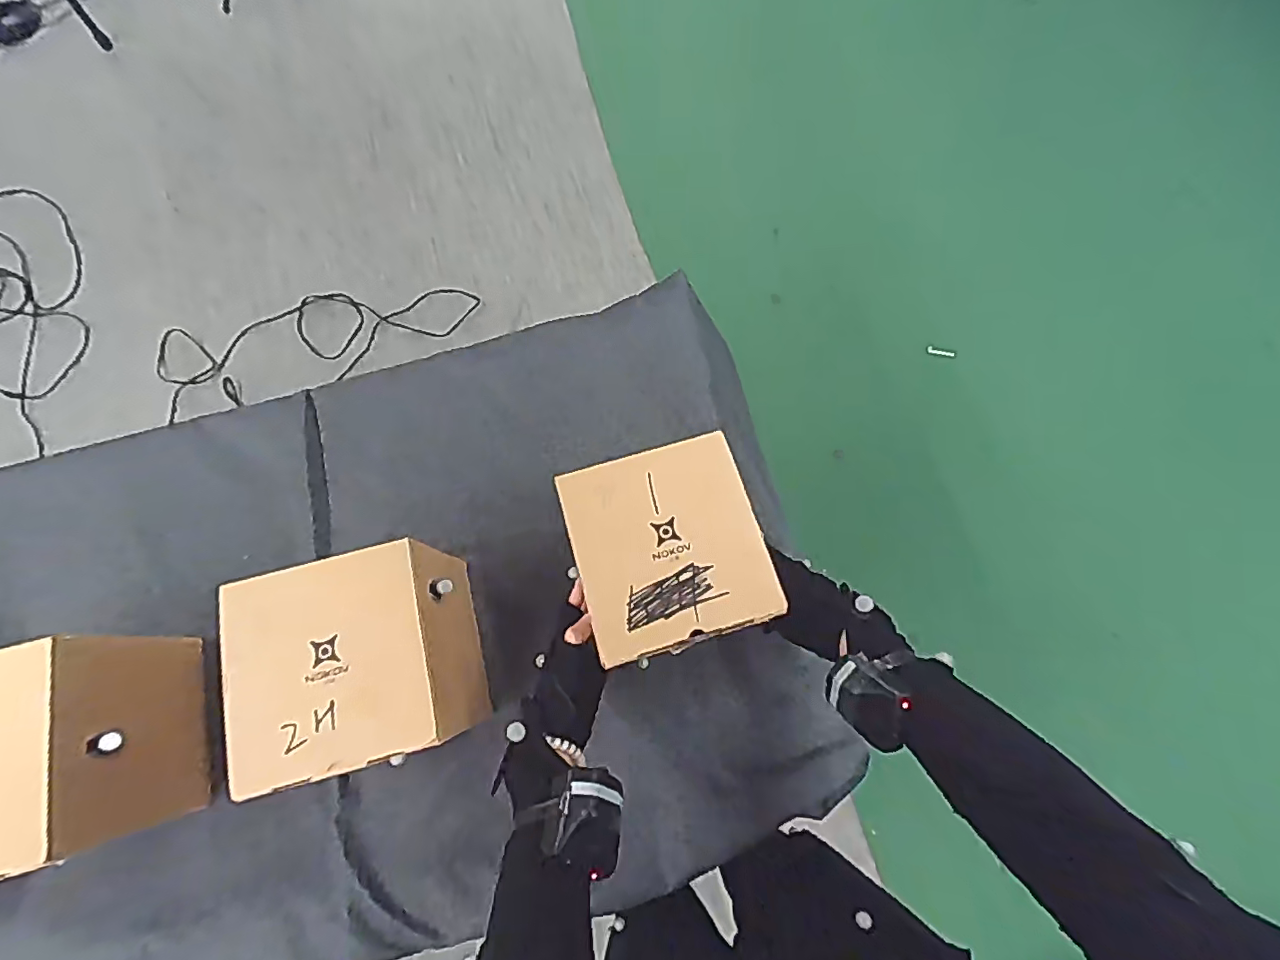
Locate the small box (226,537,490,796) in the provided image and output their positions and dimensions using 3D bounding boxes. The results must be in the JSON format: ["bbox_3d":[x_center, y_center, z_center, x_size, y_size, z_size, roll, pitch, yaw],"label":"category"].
[{"bbox_3d":[-0.257,0.171,0.524,0.168,0.176,0.179,-14,75,-5],"label":"small box"}]

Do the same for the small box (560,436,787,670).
[{"bbox_3d":[0.027,0.080,0.554,0.168,0.176,0.179,-15,74,-5],"label":"small box"}]

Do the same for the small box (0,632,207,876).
[{"bbox_3d":[-0.544,0.248,0.498,0.168,0.176,0.179,-14,75,-5],"label":"small box"}]
